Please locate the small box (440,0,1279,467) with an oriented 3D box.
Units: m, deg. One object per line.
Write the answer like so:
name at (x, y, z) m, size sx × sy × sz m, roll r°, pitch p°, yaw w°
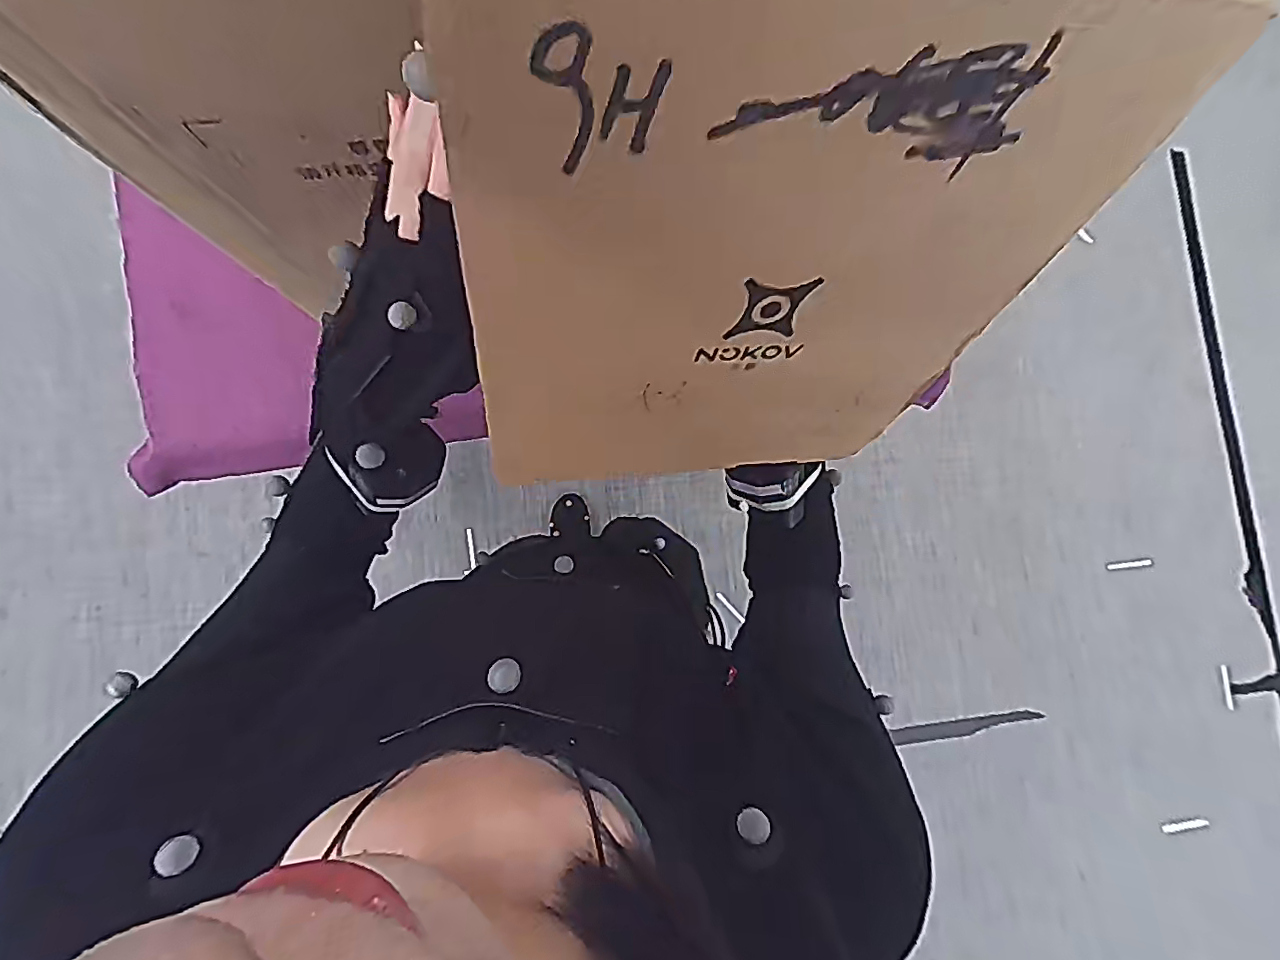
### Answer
small box at (0.023, -0.123, 0.189) m, size 0.168 × 0.179 × 0.176 m, roll -6°, pitch 63°, yaw -14°
